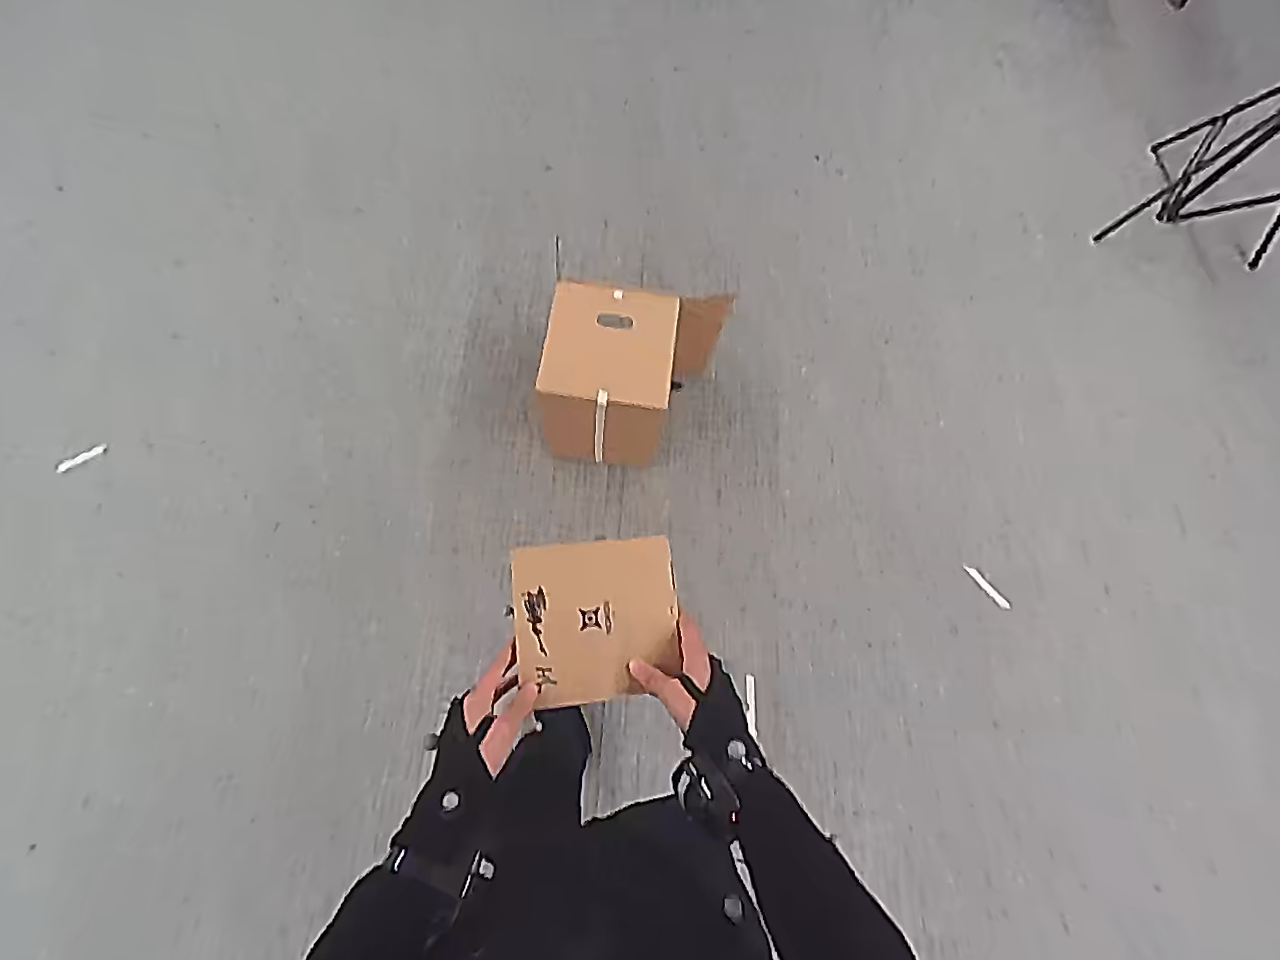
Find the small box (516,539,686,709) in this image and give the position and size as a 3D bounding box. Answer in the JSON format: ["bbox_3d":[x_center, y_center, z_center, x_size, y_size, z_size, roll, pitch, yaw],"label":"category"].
[{"bbox_3d":[-0.056,0.161,0.647,0.179,0.176,0.168,-3,79,-11],"label":"small box"}]
